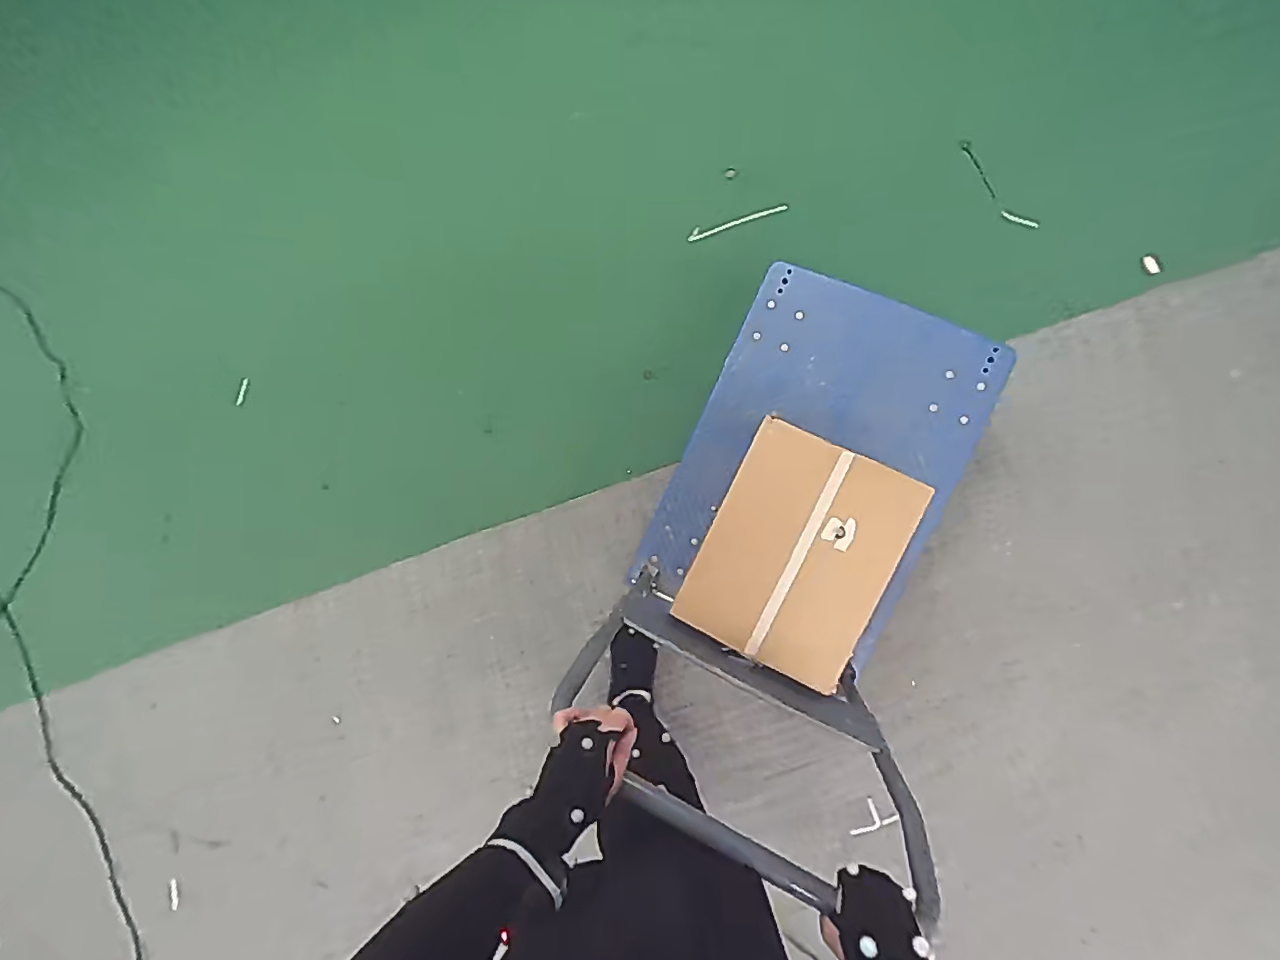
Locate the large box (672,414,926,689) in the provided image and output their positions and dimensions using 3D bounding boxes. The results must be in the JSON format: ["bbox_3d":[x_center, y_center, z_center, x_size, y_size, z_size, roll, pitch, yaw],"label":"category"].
[{"bbox_3d":[0.298,0.129,1.100,0.320,0.320,0.408,26,93,9],"label":"large box"}]
